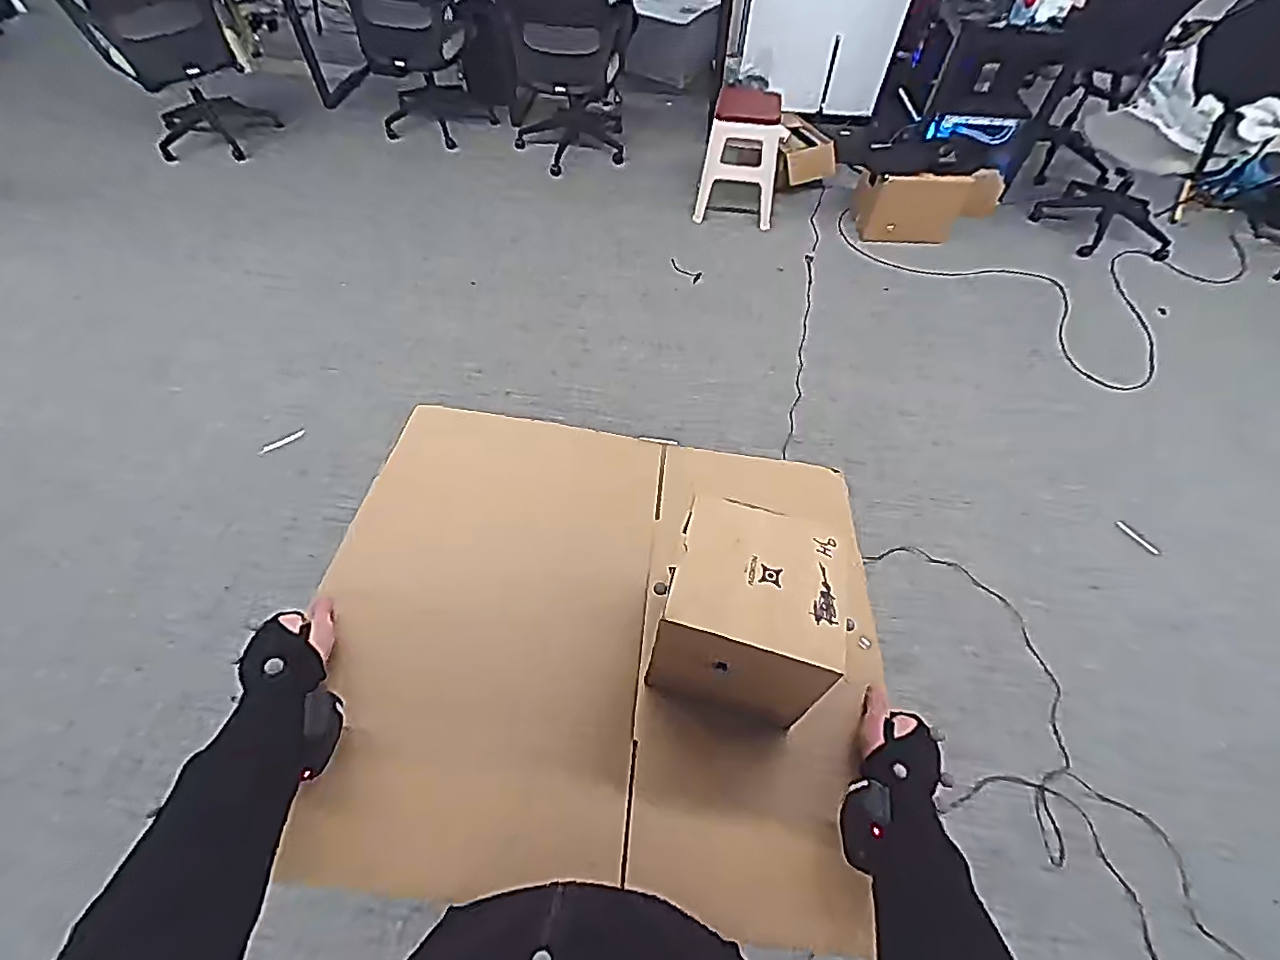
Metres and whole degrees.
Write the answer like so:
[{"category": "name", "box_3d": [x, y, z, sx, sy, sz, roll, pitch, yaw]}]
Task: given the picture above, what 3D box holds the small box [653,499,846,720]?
[{"category": "small box", "box_3d": [0.120, 0.152, 0.620, 0.179, 0.176, 0.168, 15, 50, 7]}]
